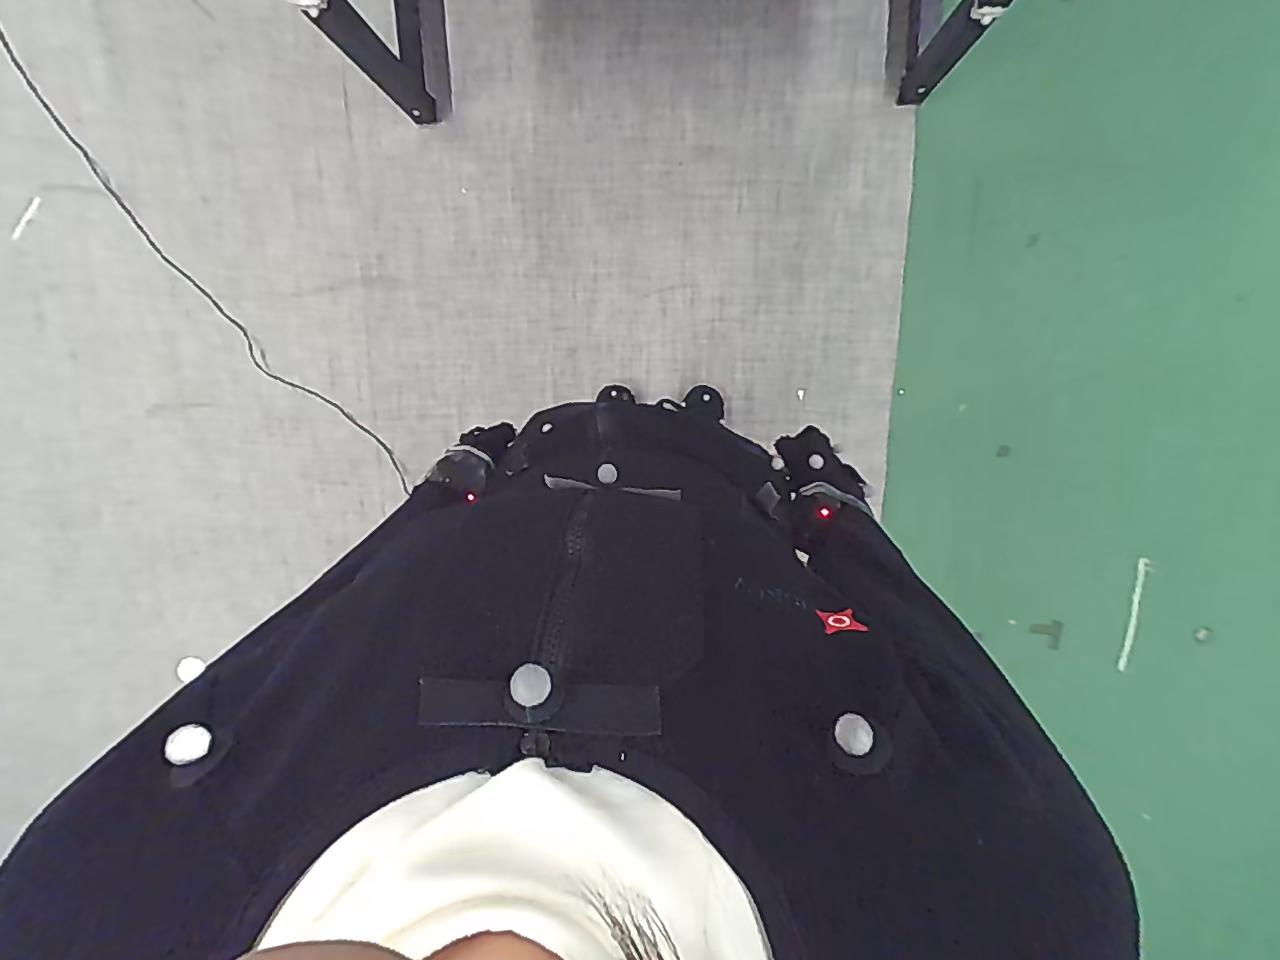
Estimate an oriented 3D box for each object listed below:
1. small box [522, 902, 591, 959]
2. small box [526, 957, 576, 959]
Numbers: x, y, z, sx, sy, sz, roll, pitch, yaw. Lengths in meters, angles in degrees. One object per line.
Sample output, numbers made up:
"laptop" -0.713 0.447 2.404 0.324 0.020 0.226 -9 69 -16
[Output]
"small box" -0.240 1.398 1.607 0.179 0.176 0.168 -2 102 4
"small box" -0.253 1.408 1.424 0.179 0.176 0.168 -1 102 4
